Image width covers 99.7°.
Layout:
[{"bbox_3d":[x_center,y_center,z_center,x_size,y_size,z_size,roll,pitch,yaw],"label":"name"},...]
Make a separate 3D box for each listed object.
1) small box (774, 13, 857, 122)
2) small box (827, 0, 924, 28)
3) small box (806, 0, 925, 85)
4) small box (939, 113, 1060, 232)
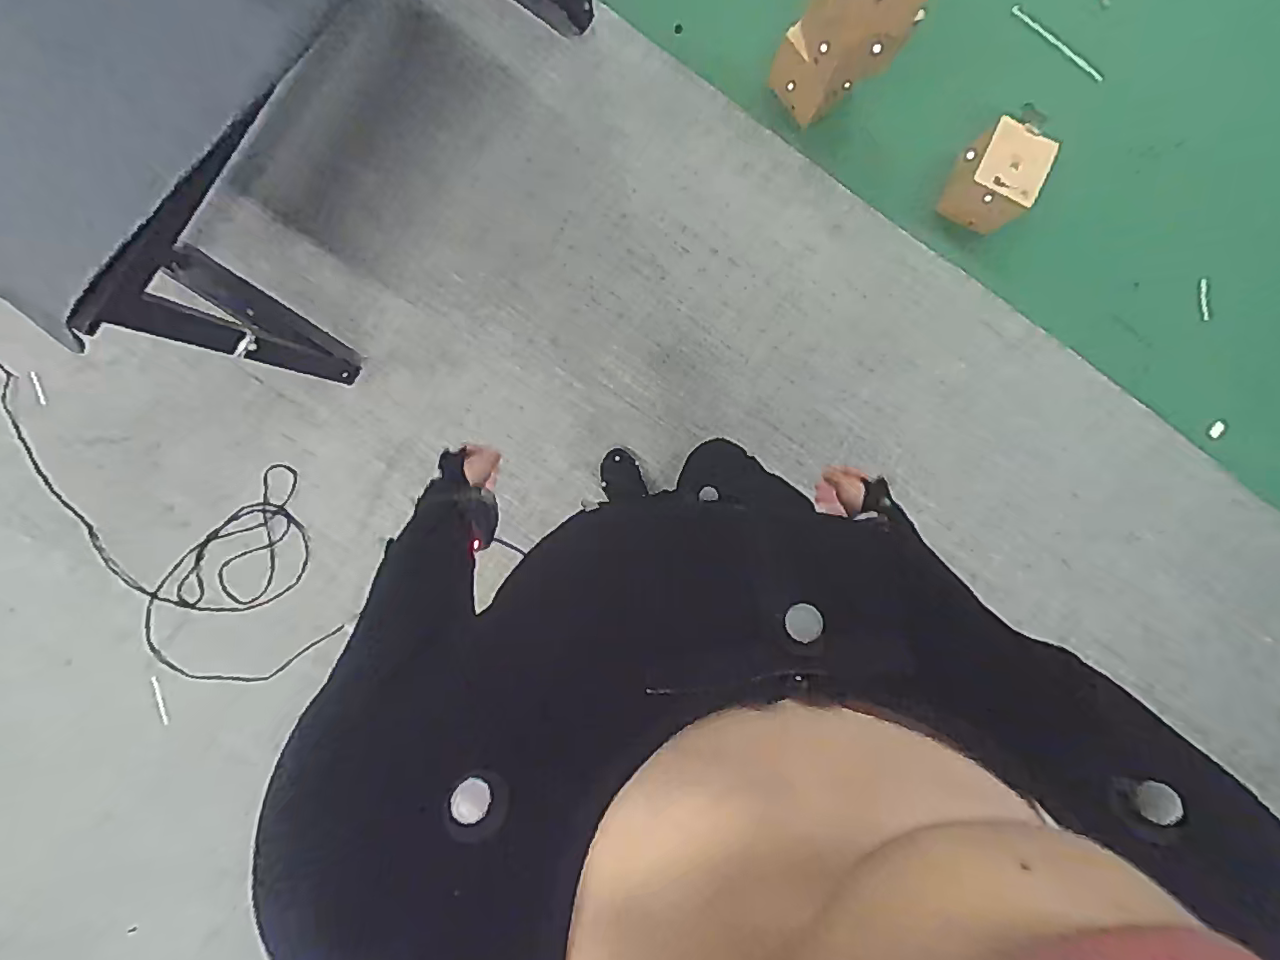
[{"bbox_3d":[0.460,-1.061,1.367,0.179,0.176,0.168,-40,94,0],"label":"small box"},{"bbox_3d":[0.489,-1.027,1.042,0.179,0.176,0.168,11,94,-2],"label":"small box"},{"bbox_3d":[0.489,-1.031,1.207,0.179,0.176,0.168,-19,95,-2],"label":"small box"},{"bbox_3d":[0.918,-0.785,1.400,0.168,0.176,0.179,25,91,-4],"label":"small box"}]
